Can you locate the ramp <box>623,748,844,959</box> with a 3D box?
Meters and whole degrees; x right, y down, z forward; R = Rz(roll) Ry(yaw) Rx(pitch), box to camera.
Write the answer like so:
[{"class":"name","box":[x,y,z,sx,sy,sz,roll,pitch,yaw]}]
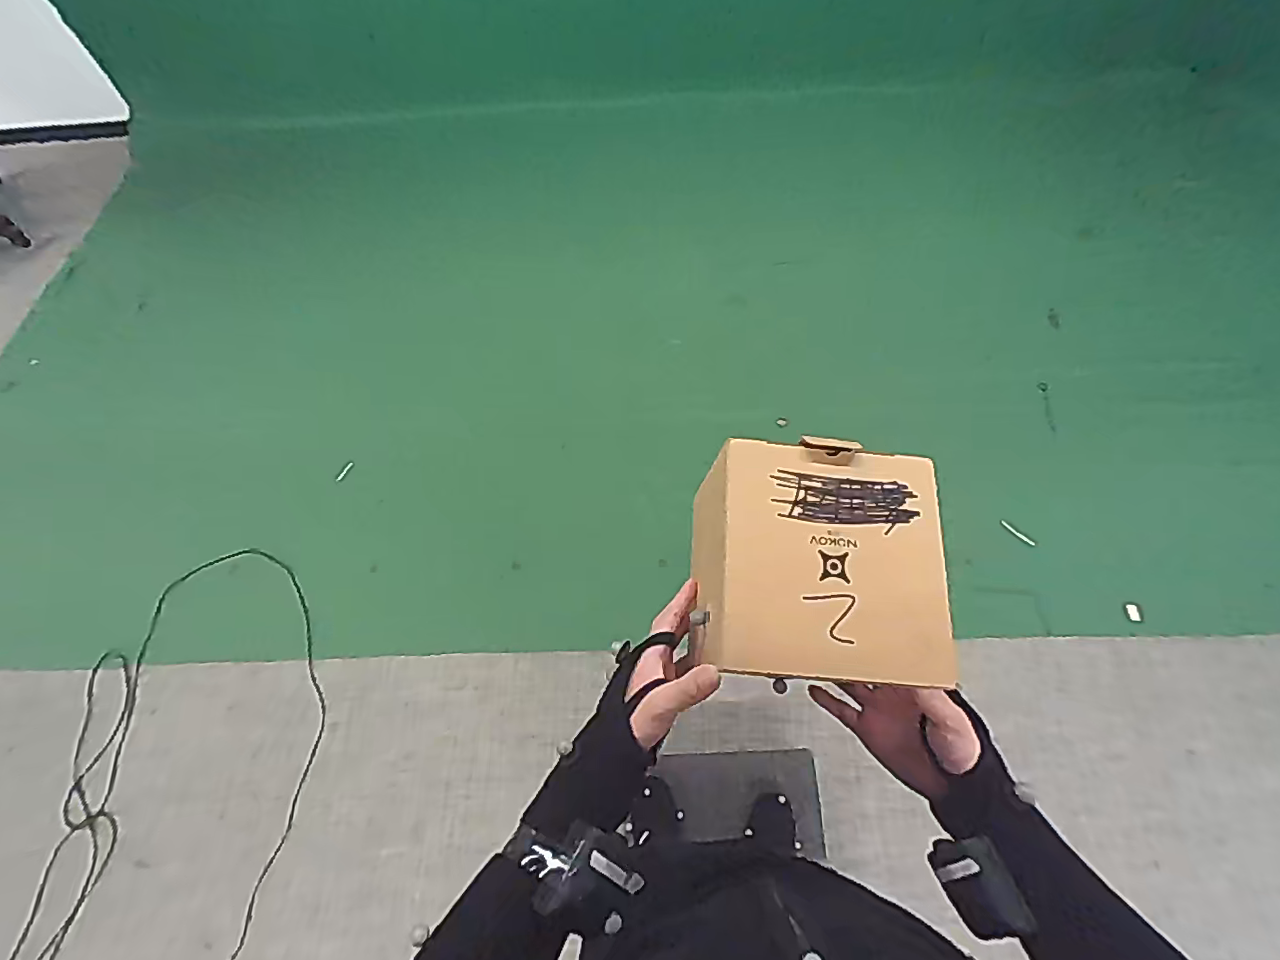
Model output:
[{"class":"ramp","box":[0.224,1.162,1.216,0.509,0.206,0.991,-4,62,0]}]
